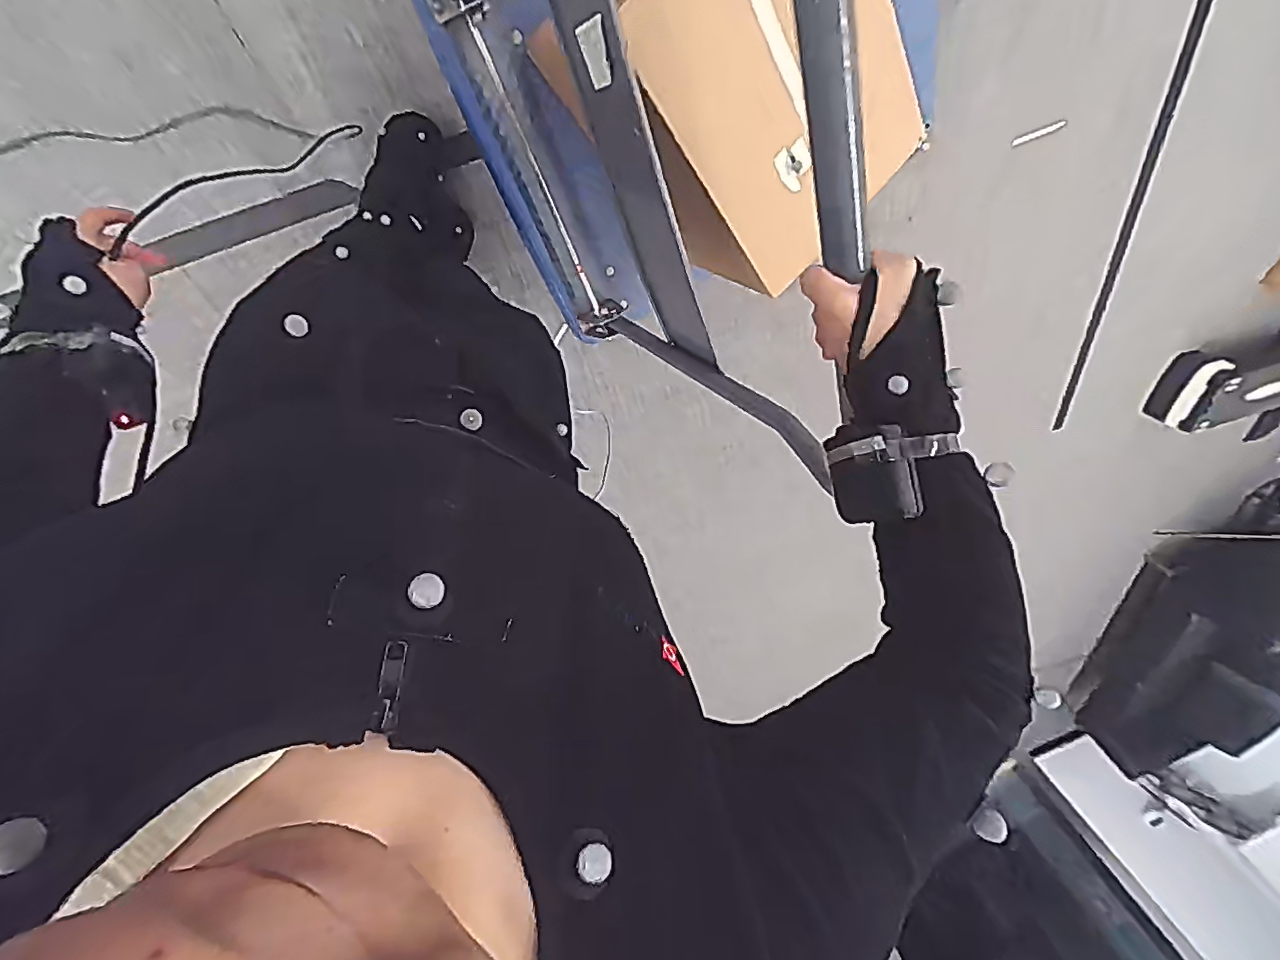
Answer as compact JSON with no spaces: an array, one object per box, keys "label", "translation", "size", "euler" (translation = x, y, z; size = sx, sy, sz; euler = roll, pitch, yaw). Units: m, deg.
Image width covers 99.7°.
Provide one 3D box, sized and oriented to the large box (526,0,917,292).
[{"label":"large box","translation":[0.115,-0.554,0.773],"size":[0.320,0.320,0.408],"euler":[-46,132,6]}]
